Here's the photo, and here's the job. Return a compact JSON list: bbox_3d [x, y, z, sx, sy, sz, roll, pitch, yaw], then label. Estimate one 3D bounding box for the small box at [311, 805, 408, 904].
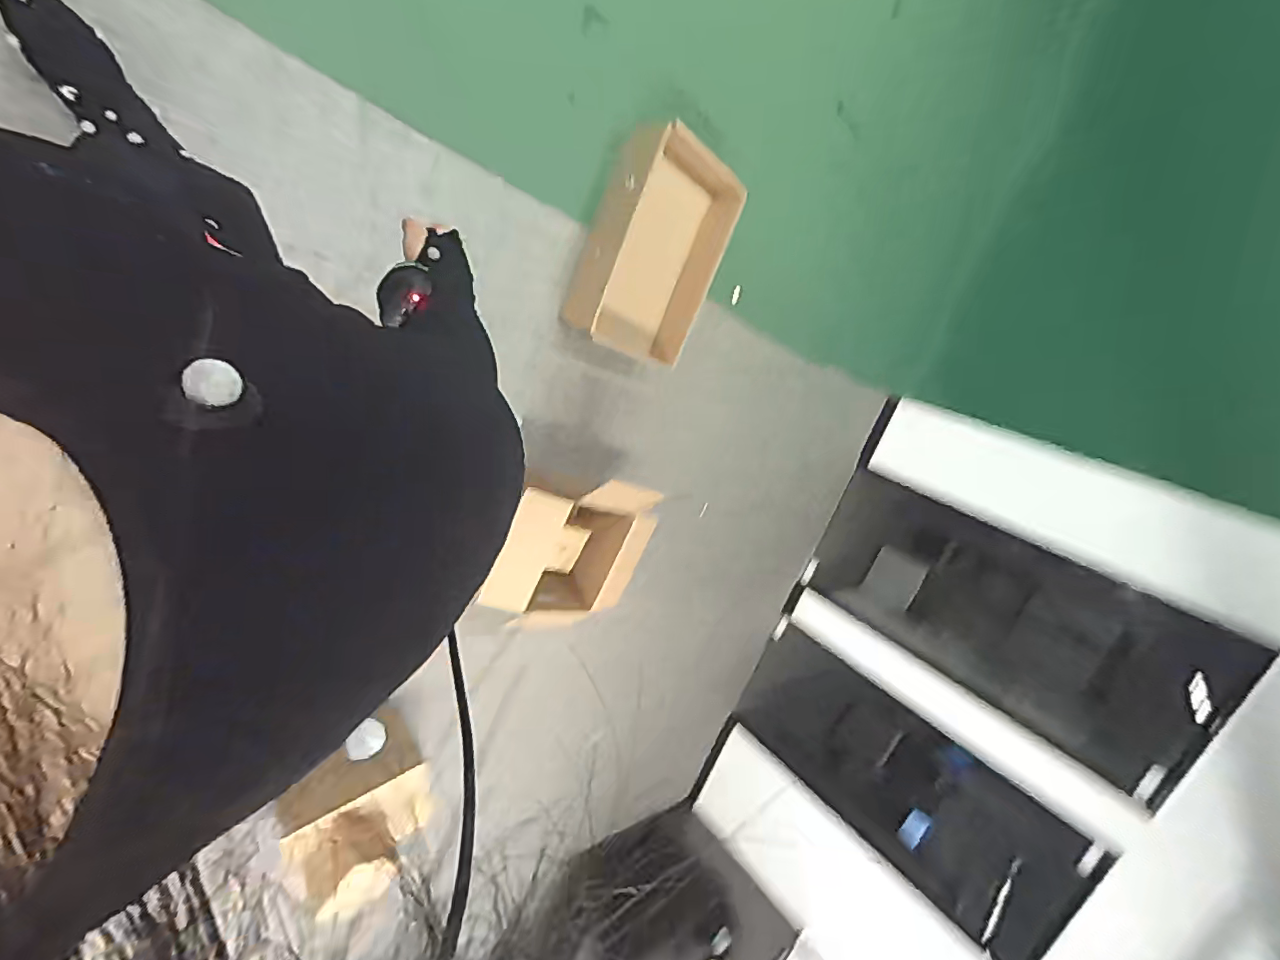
[{"bbox_3d":[-0.832,1.090,1.596,0.179,0.176,0.168,-56,140,-4],"label":"small box"}]
